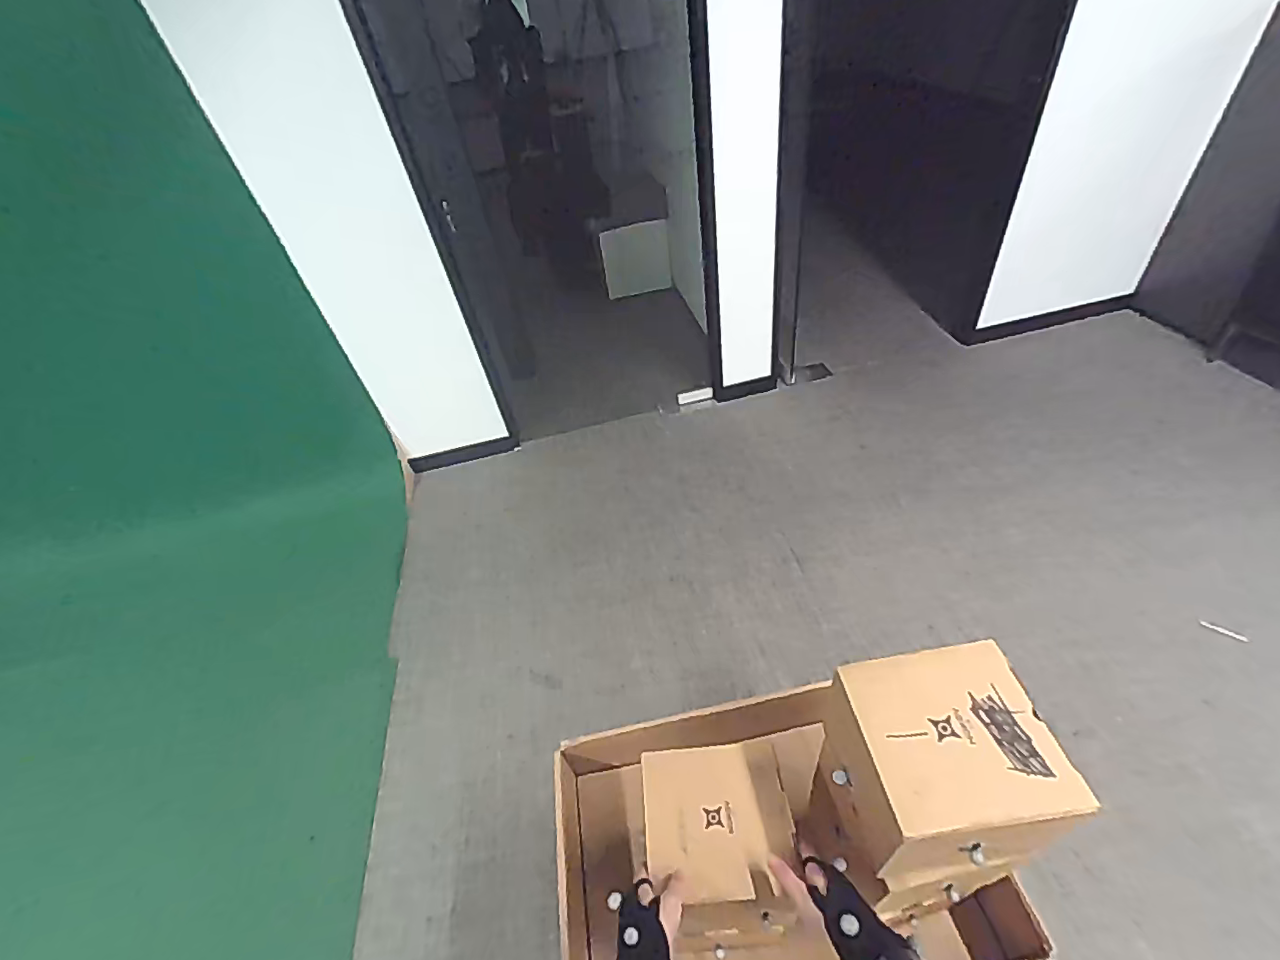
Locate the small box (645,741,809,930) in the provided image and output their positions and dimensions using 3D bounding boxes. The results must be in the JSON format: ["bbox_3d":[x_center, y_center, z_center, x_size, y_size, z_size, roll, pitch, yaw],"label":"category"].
[{"bbox_3d":[0.101,0.459,0.697,0.179,0.176,0.168,-5,41,2],"label":"small box"}]

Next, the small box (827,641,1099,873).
[{"bbox_3d":[0.317,0.299,0.581,0.179,0.176,0.168,-10,43,2],"label":"small box"}]
